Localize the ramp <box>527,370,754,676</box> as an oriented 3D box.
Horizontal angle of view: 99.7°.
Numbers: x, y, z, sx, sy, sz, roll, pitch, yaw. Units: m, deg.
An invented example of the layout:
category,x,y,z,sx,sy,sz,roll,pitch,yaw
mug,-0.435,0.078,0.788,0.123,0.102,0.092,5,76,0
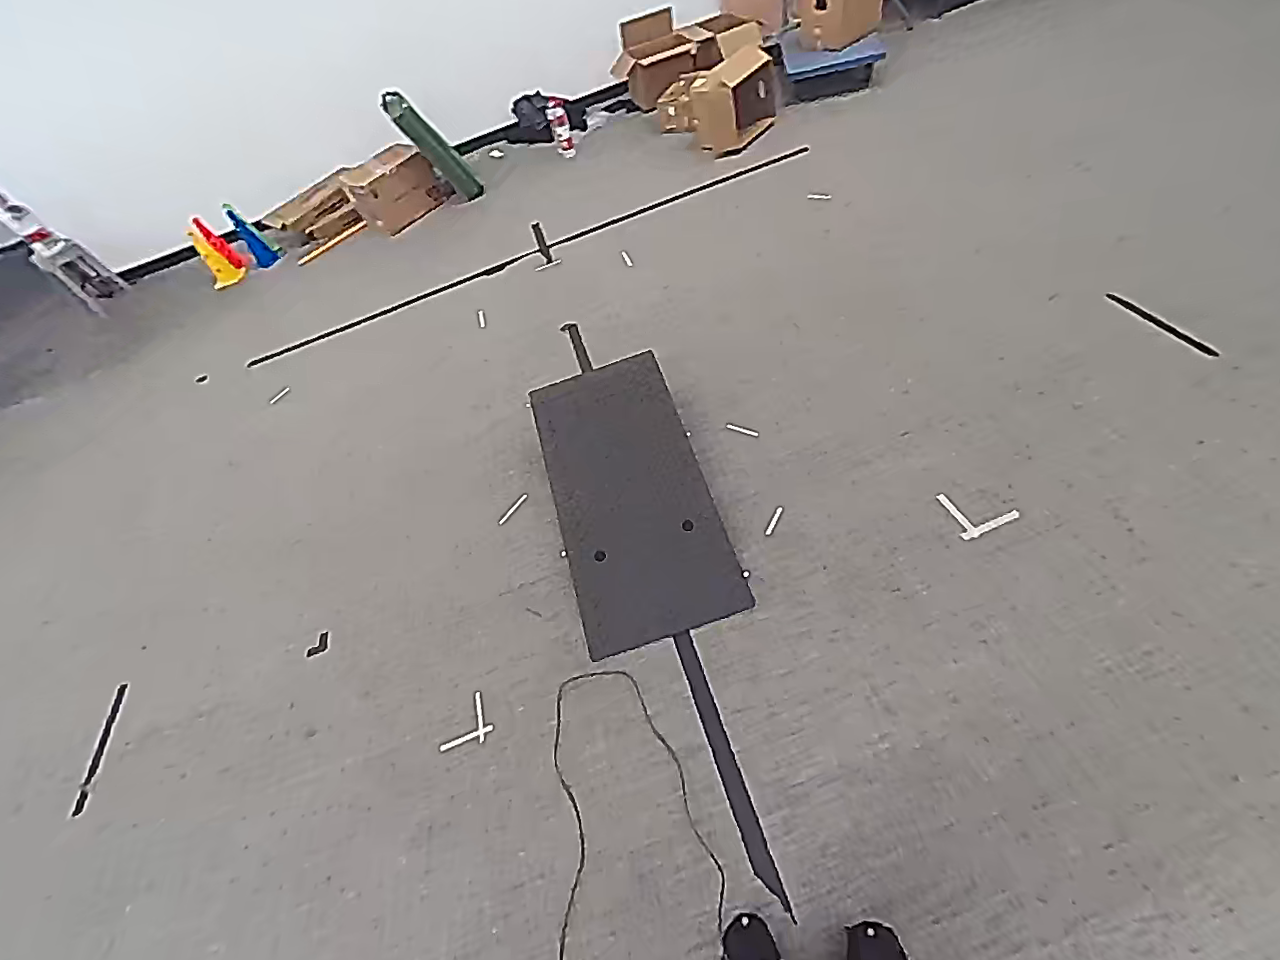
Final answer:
category,x,y,z,sx,sy,sz,roll,pitch,yaw
ramp,-0.045,0.074,1.778,0.509,0.206,0.991,-21,49,-2
